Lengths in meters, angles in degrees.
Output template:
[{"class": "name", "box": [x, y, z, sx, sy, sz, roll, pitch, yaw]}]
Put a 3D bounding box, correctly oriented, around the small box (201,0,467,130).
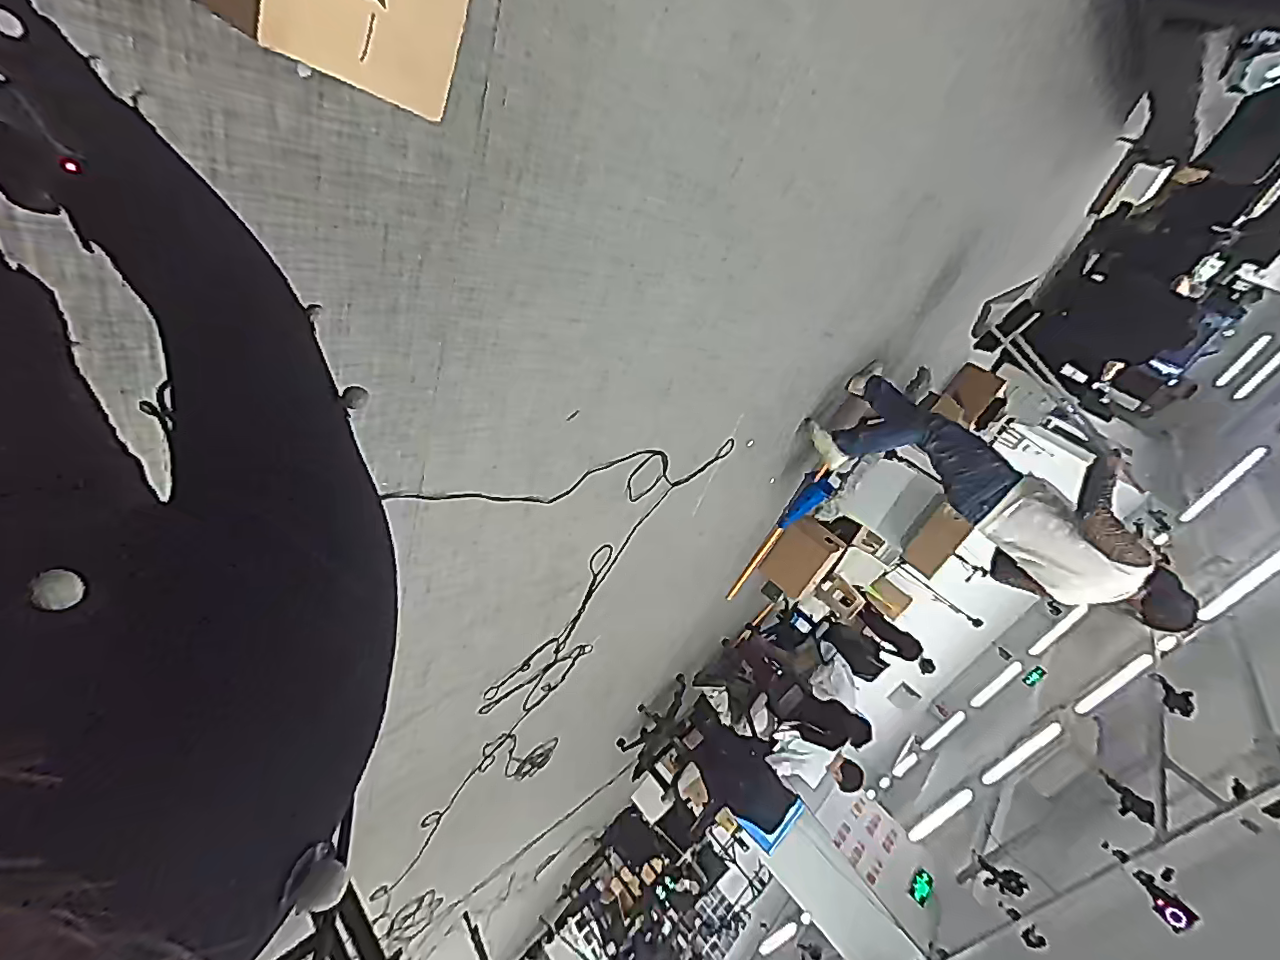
[{"class": "small box", "box": [-0.283, -0.472, 0.500, 0.168, 0.176, 0.179, -10, 134, -51]}]
